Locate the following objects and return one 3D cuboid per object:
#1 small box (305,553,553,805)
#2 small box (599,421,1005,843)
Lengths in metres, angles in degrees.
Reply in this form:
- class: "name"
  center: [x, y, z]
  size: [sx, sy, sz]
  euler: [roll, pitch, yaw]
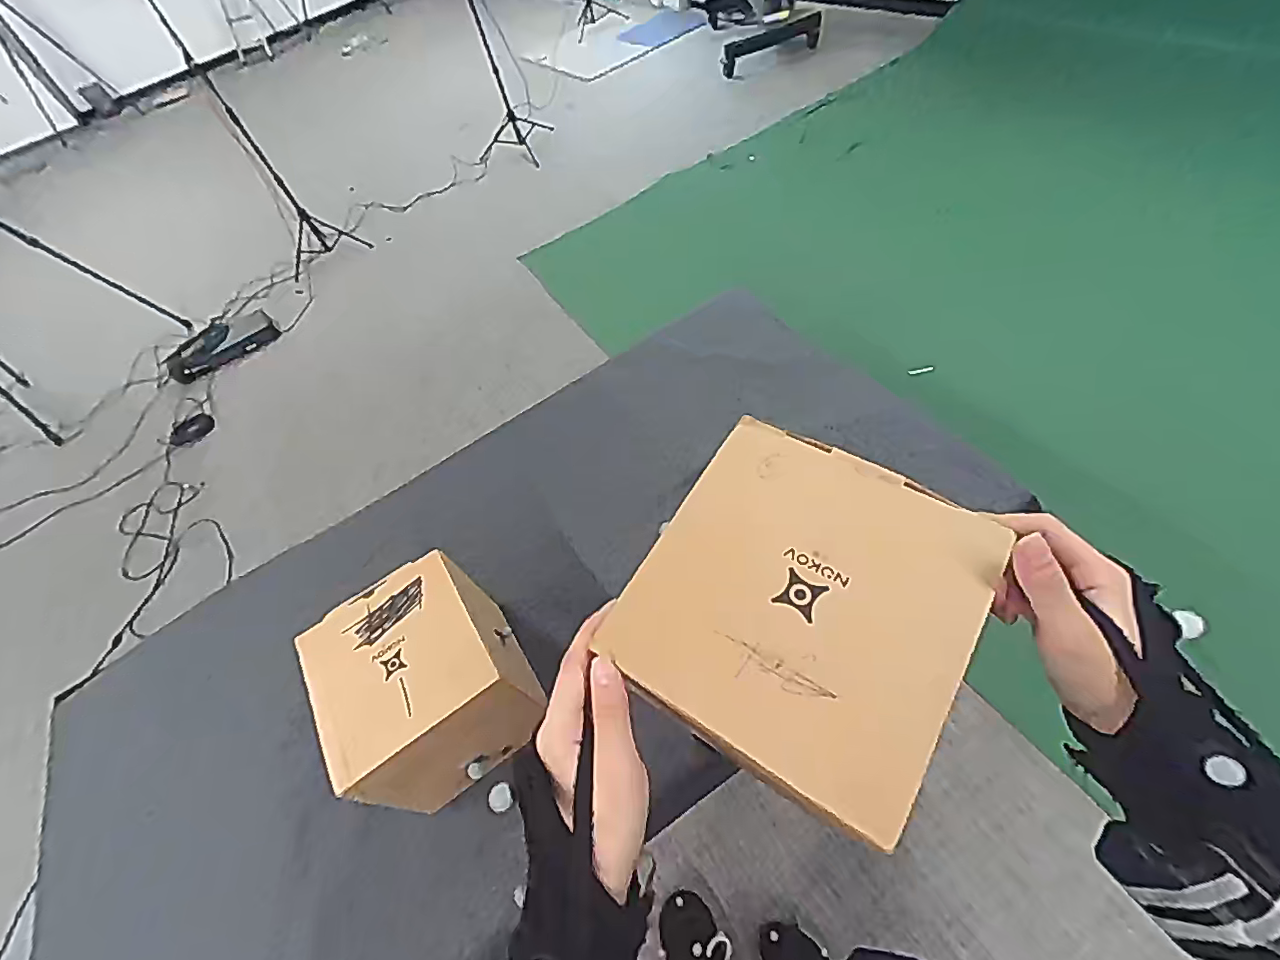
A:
- class: "small box"
  center: [-0.222, 0.220, 0.591]
  size: [0.168, 0.176, 0.179]
  euler: [-34, 54, -11]
- class: "small box"
  center: [0.099, 0.098, 0.363]
  size: [0.168, 0.176, 0.179]
  euler: [26, 69, 22]
